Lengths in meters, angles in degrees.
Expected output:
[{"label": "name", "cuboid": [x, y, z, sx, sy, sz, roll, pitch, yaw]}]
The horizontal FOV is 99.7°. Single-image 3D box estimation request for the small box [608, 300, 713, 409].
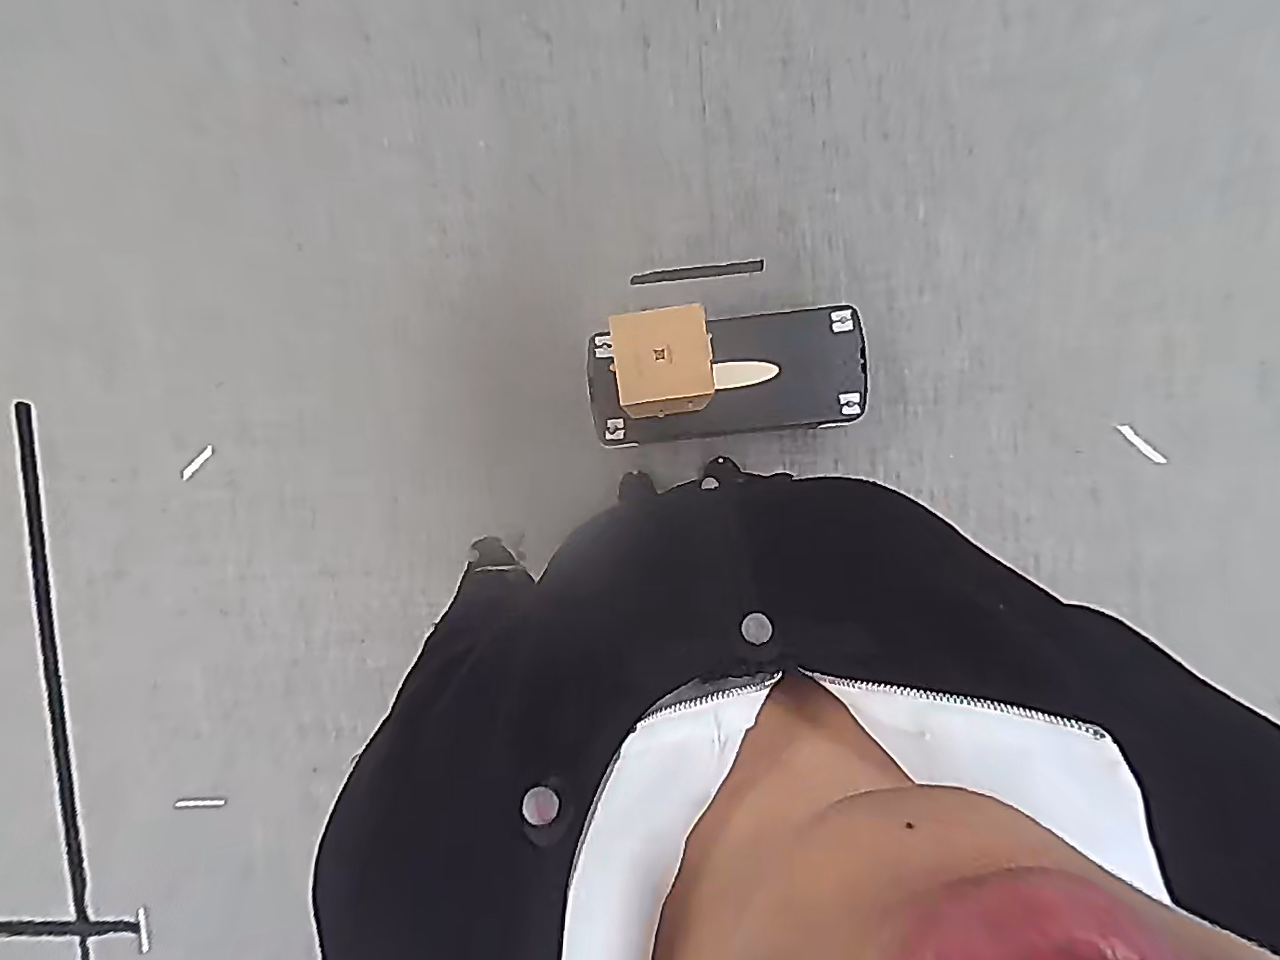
[{"label": "small box", "cuboid": [0.040, -0.238, 1.057, 0.179, 0.176, 0.168, -8, 91, 3]}]
